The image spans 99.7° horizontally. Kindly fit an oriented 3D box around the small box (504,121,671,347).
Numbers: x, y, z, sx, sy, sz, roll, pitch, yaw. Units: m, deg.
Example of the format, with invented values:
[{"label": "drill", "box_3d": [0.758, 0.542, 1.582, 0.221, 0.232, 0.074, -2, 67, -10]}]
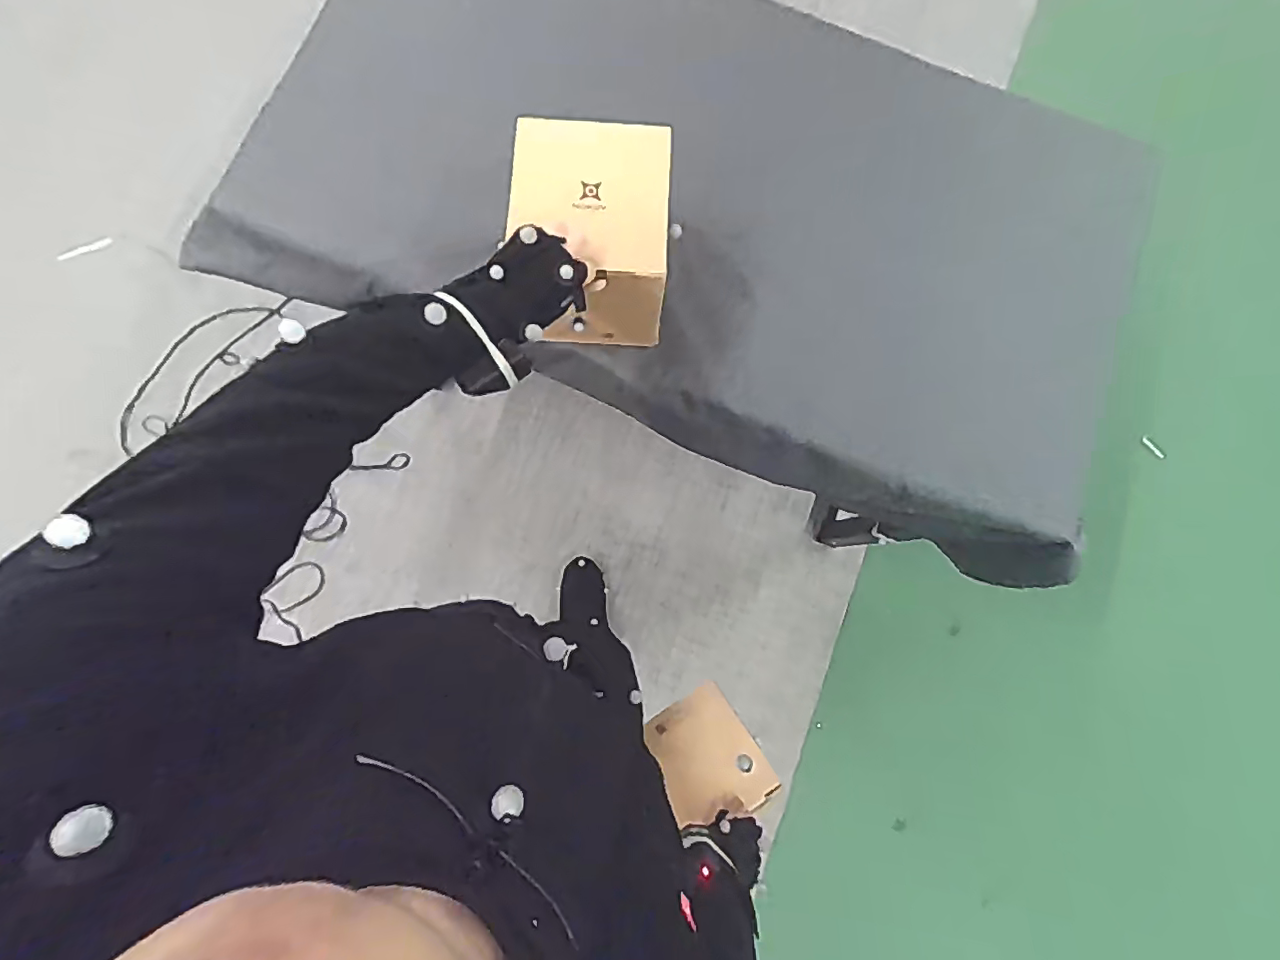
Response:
[{"label": "small box", "box_3d": [-0.056, -0.277, 0.639, 0.168, 0.176, 0.179, 3, 81, -1]}]
